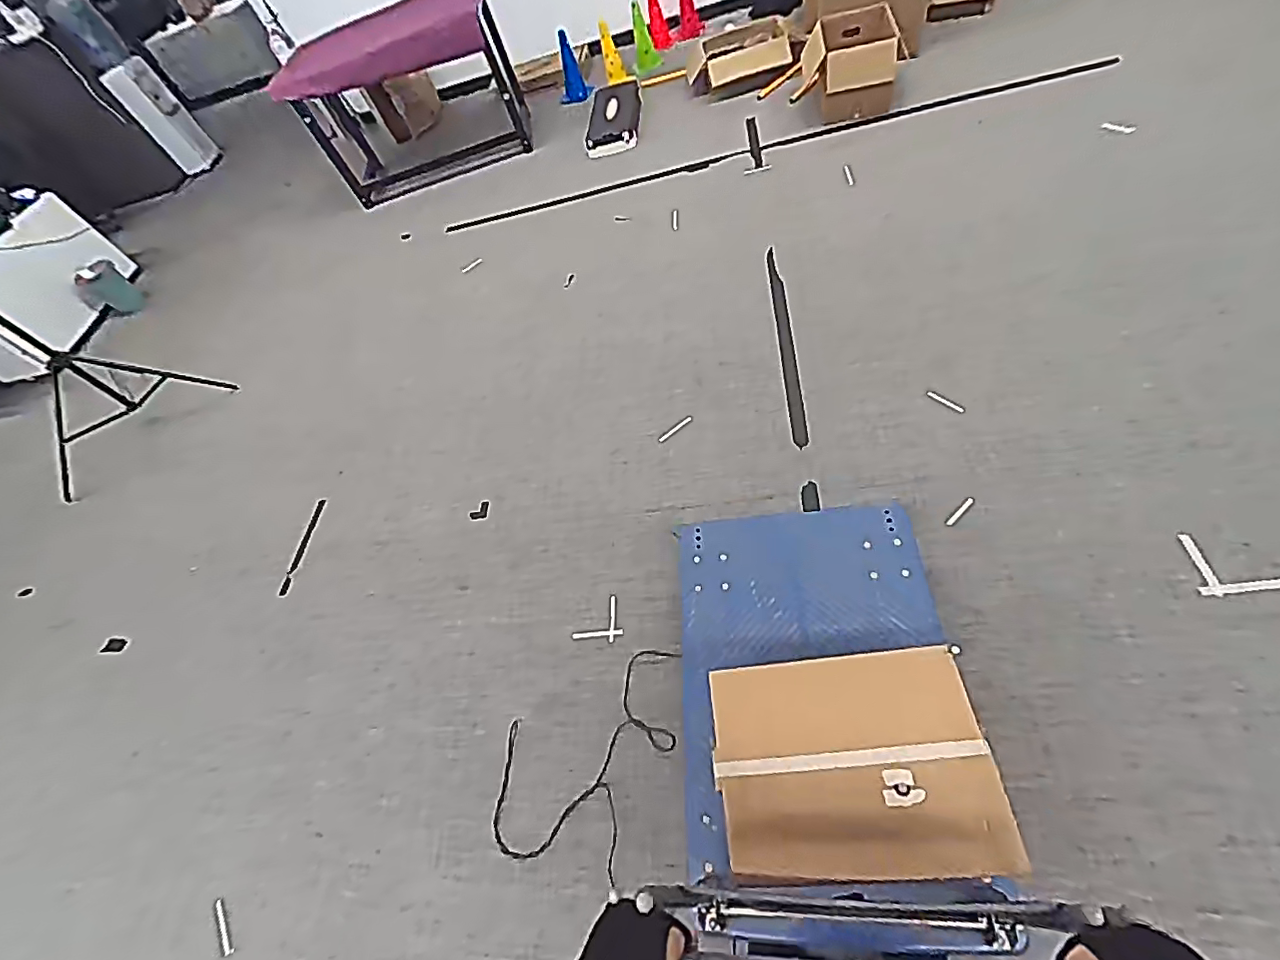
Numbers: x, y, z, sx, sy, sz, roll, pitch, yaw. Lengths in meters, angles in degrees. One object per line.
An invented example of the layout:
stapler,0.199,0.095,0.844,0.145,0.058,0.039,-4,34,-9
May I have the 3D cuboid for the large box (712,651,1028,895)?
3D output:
large box,0.361,0.528,0.967,0.408,0.320,0.320,-10,55,9
